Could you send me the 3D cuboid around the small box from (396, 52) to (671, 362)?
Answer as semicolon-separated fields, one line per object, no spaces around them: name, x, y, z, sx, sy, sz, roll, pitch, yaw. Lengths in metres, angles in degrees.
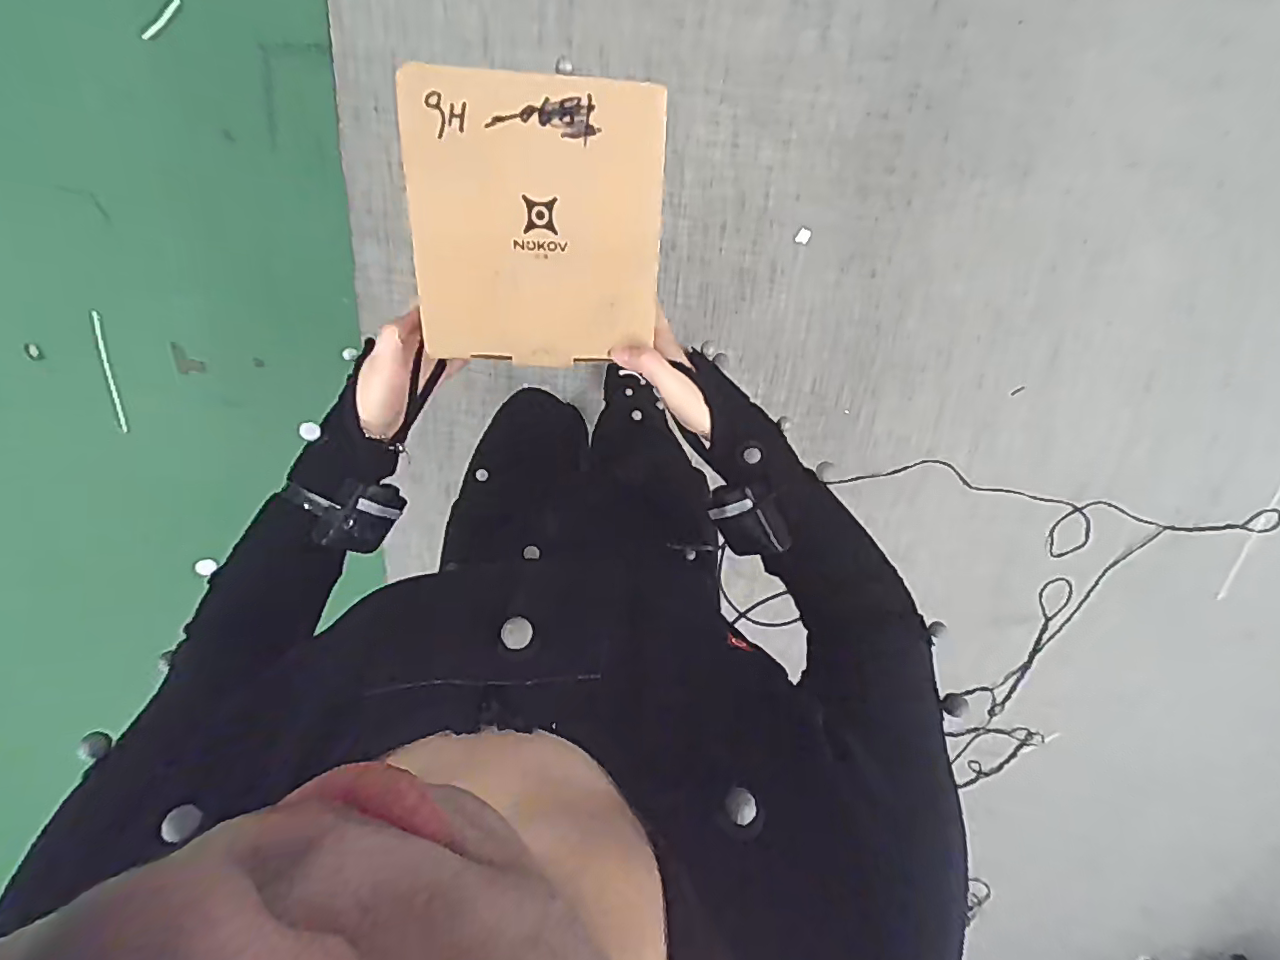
small box;-0.073;-0.201;0.428;0.168;0.176;0.179;1;114;-6
